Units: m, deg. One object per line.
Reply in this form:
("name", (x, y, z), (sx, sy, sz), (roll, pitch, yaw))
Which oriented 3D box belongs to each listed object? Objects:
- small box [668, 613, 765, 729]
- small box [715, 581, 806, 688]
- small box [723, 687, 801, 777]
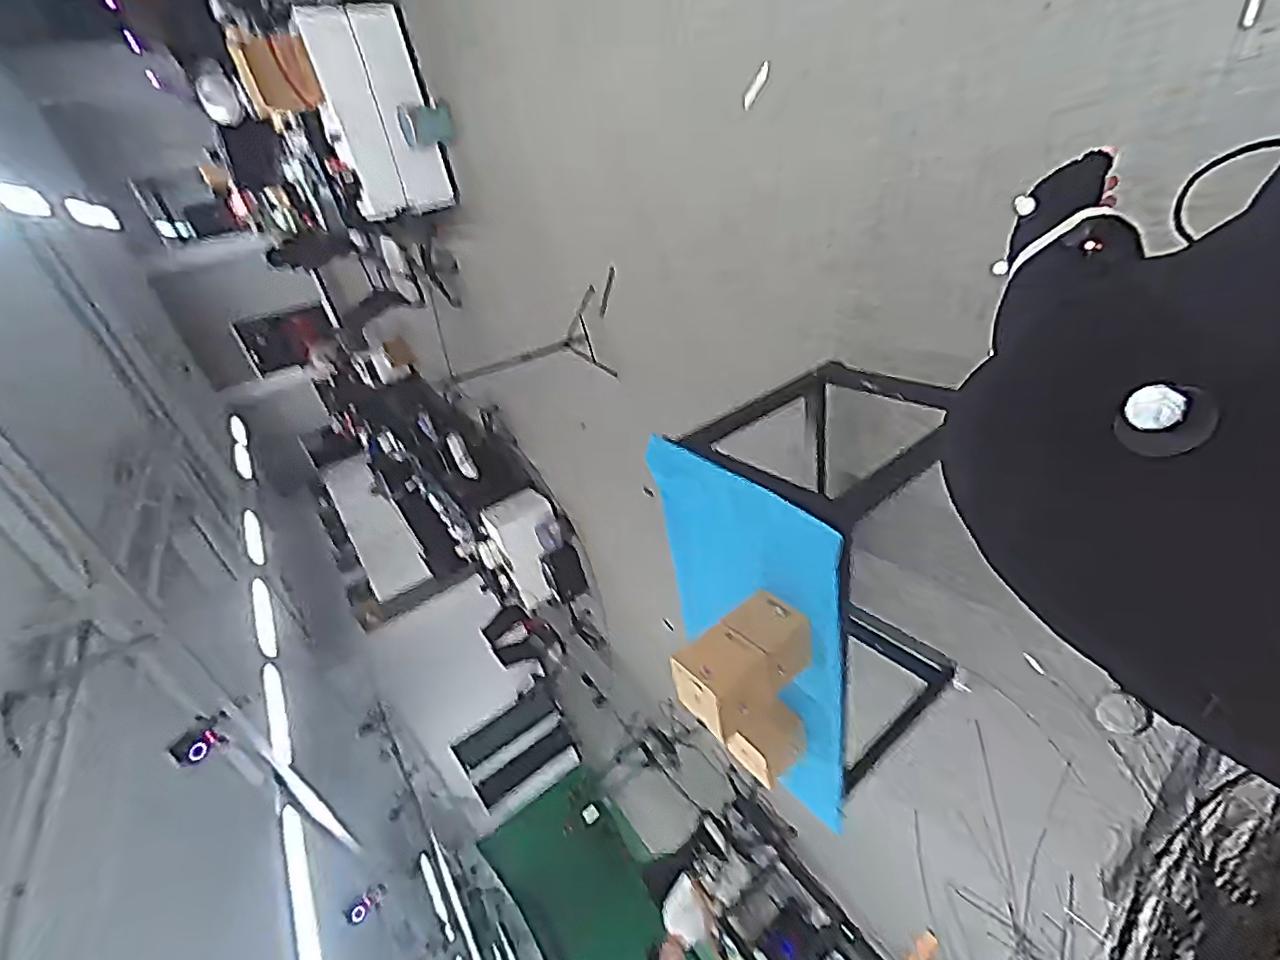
("small box", (0.196, 0.470, 1.353), (0.168, 0.176, 0.179), (26, 136, 51))
("small box", (0.323, 0.405, 1.432), (0.168, 0.176, 0.179), (29, 140, 48))
("small box", (0.378, 0.770, 1.691), (0.179, 0.176, 0.168), (30, 141, 45))
